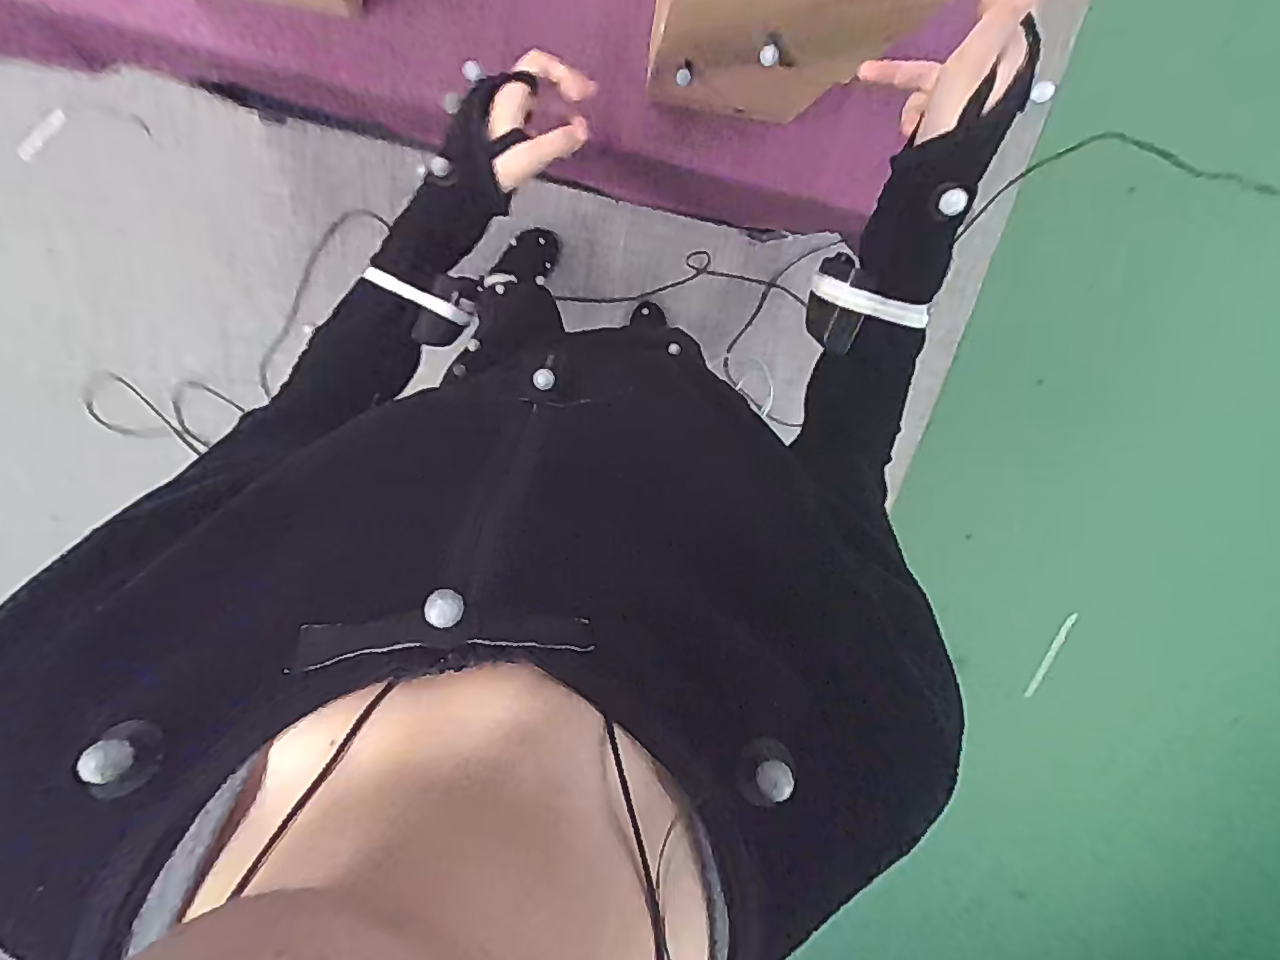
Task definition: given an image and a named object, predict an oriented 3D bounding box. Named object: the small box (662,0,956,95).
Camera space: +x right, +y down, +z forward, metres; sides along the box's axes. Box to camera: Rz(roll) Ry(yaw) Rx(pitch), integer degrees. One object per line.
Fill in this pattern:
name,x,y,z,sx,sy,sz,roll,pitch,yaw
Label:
small box,0.111,-0.394,0.356,0.168,0.176,0.179,6,110,-6
